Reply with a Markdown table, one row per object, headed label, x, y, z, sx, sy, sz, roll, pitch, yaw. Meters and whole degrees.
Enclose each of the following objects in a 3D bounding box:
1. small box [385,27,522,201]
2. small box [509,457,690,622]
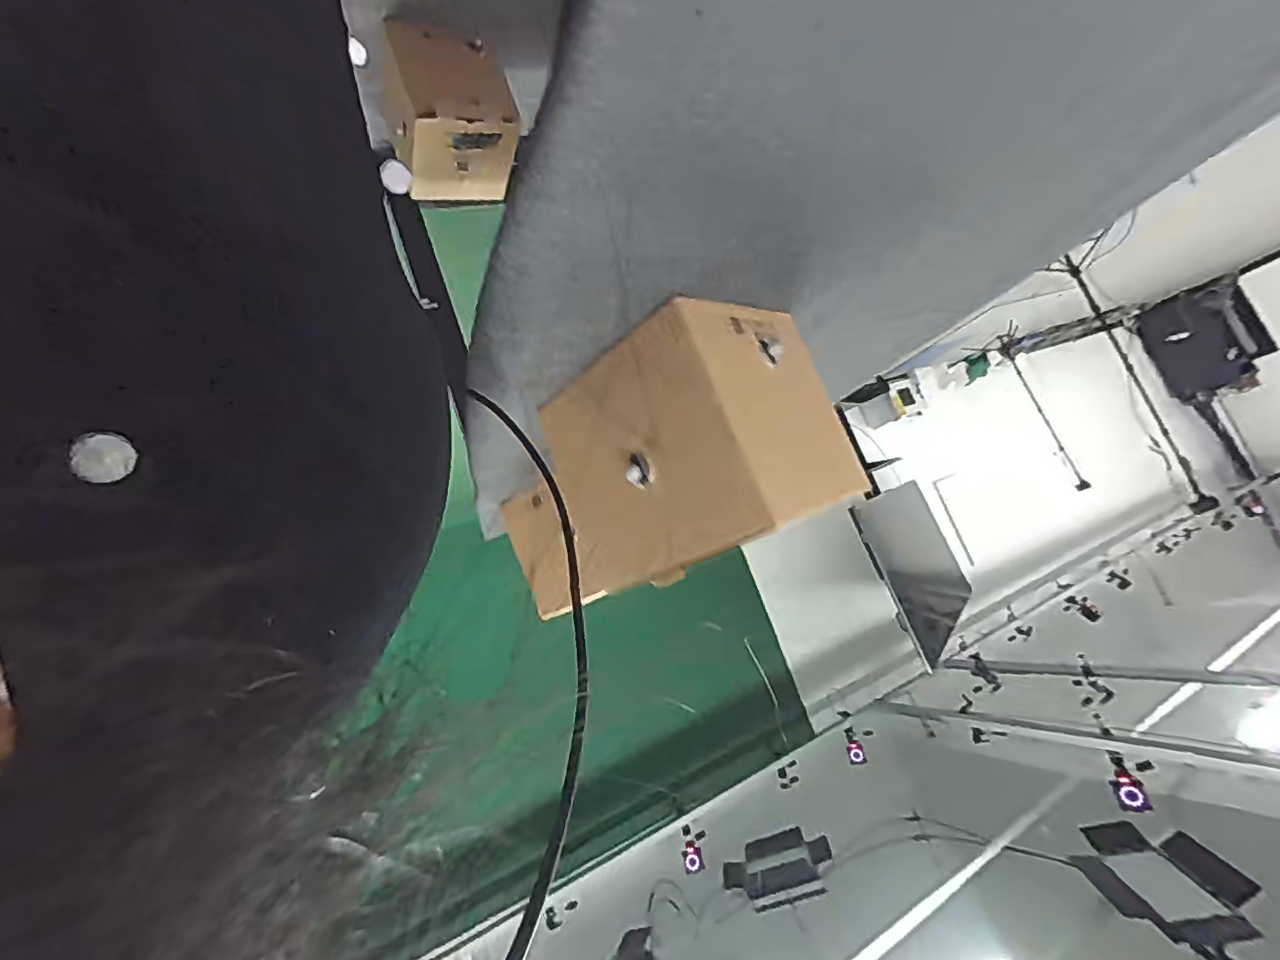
| label | x | y | z | sx | sy | sz | roll | pitch | yaw |
| --- | --- | --- | --- | --- | --- | --- | --- | --- | --- |
| small box | -0.315 | -0.596 | 0.896 | 0.168 | 0.176 | 0.179 | -16 | 170 | -28 |
| small box | -0.056 | 0.077 | 0.768 | 0.168 | 0.176 | 0.179 | -27 | 169 | 20 |
